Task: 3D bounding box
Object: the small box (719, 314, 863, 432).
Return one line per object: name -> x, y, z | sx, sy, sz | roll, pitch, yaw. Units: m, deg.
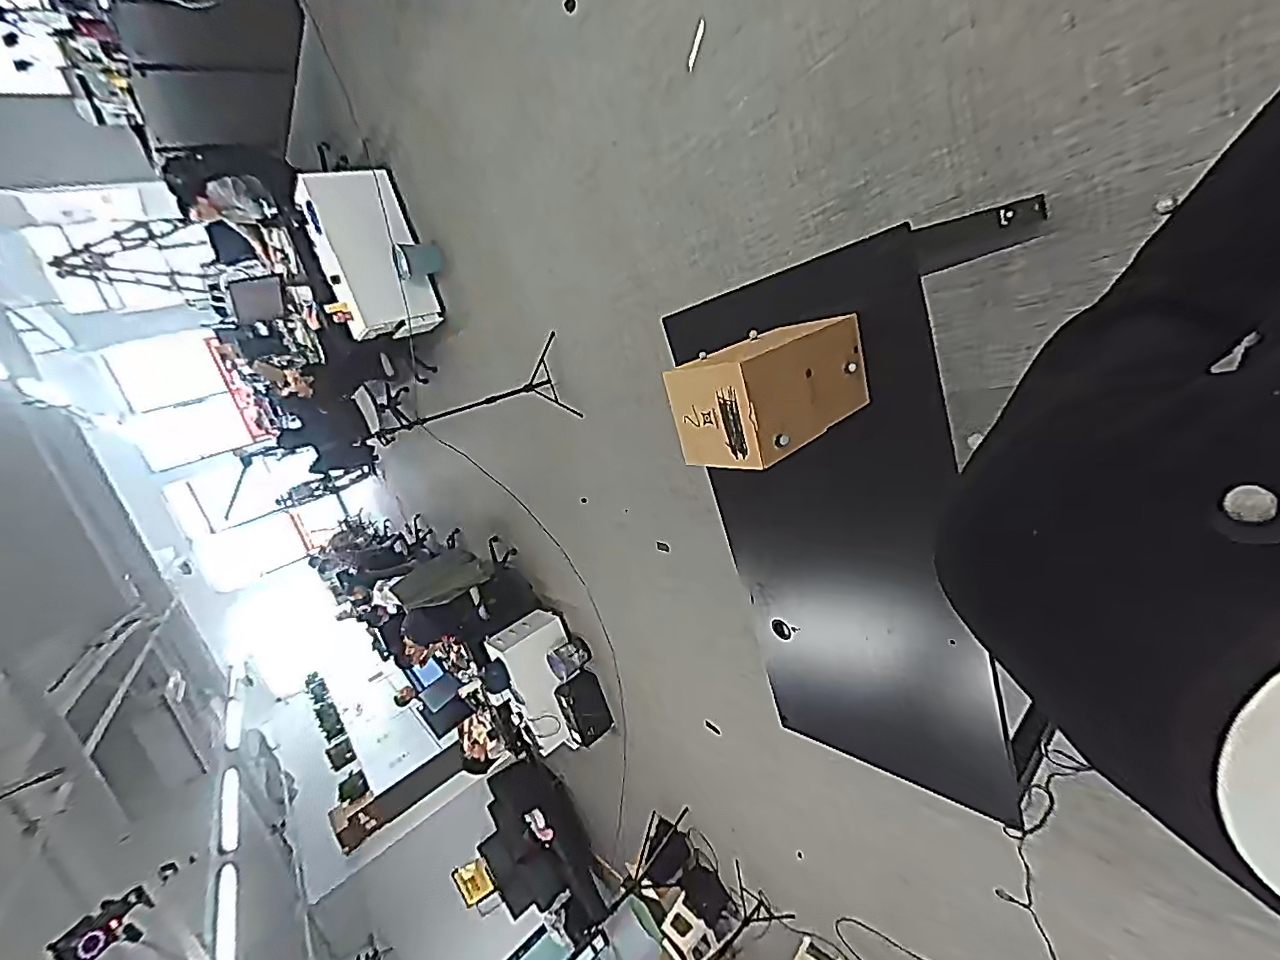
small box -> 0.276, -0.194, 0.987 | 0.179, 0.176, 0.168 | 7, 119, 51
